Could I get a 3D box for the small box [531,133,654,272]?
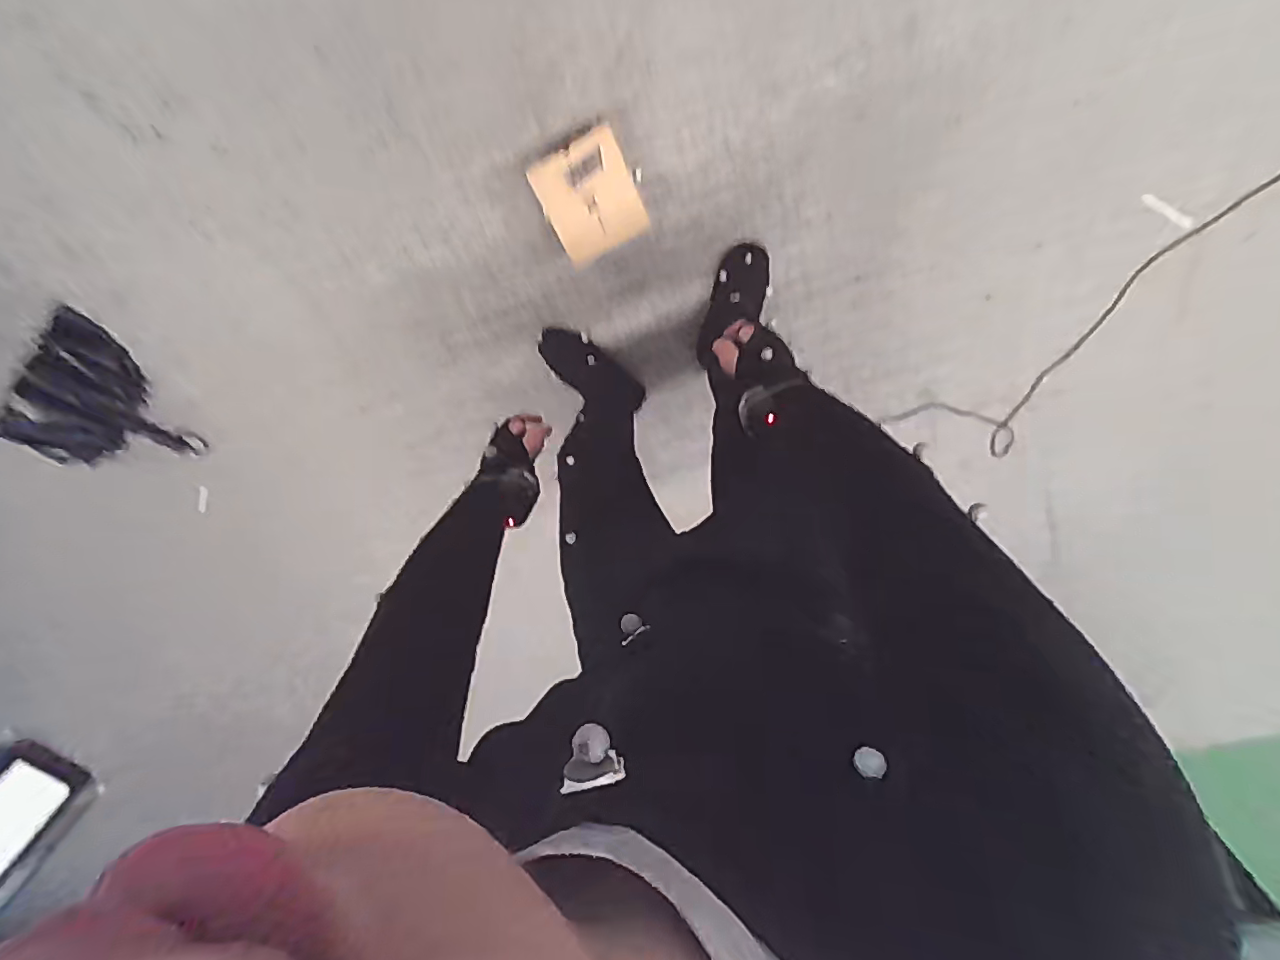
[{"bbox_3d":[-0.085,-0.533,1.039,0.168,0.176,0.179,-23,121,14],"label":"small box"}]
